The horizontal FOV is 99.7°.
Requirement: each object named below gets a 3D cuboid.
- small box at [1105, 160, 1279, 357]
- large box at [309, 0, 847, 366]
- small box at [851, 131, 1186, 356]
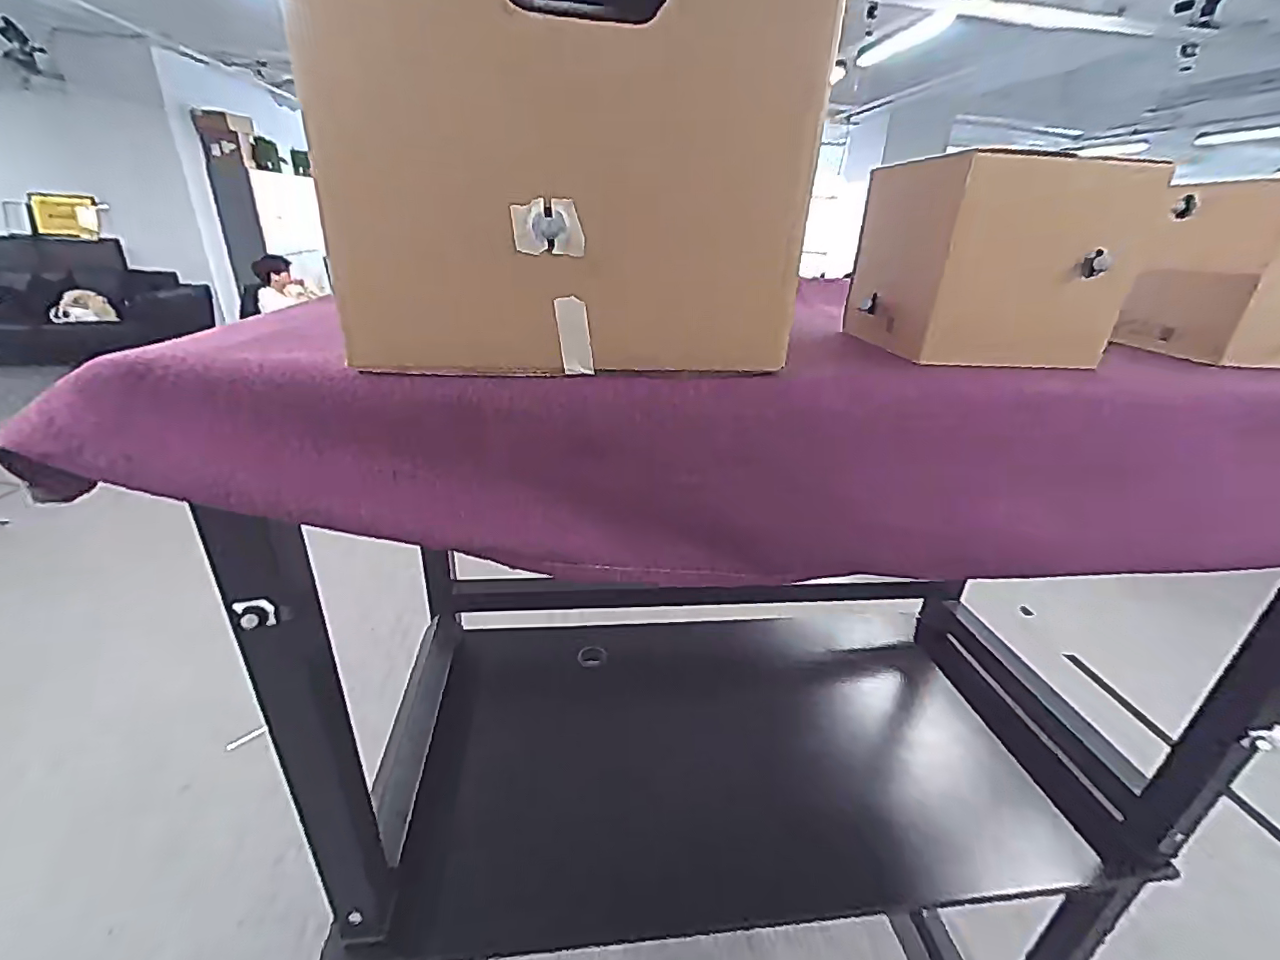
[{"bbox_3d":[0.649,-0.226,0.561,0.179,0.176,0.168,2,24,-2],"label":"small box"},{"bbox_3d":[-0.060,-0.298,0.491,0.320,0.320,0.408,-1,25,-10],"label":"large box"},{"bbox_3d":[0.330,-0.217,0.515,0.179,0.176,0.168,0,24,-5],"label":"small box"}]
